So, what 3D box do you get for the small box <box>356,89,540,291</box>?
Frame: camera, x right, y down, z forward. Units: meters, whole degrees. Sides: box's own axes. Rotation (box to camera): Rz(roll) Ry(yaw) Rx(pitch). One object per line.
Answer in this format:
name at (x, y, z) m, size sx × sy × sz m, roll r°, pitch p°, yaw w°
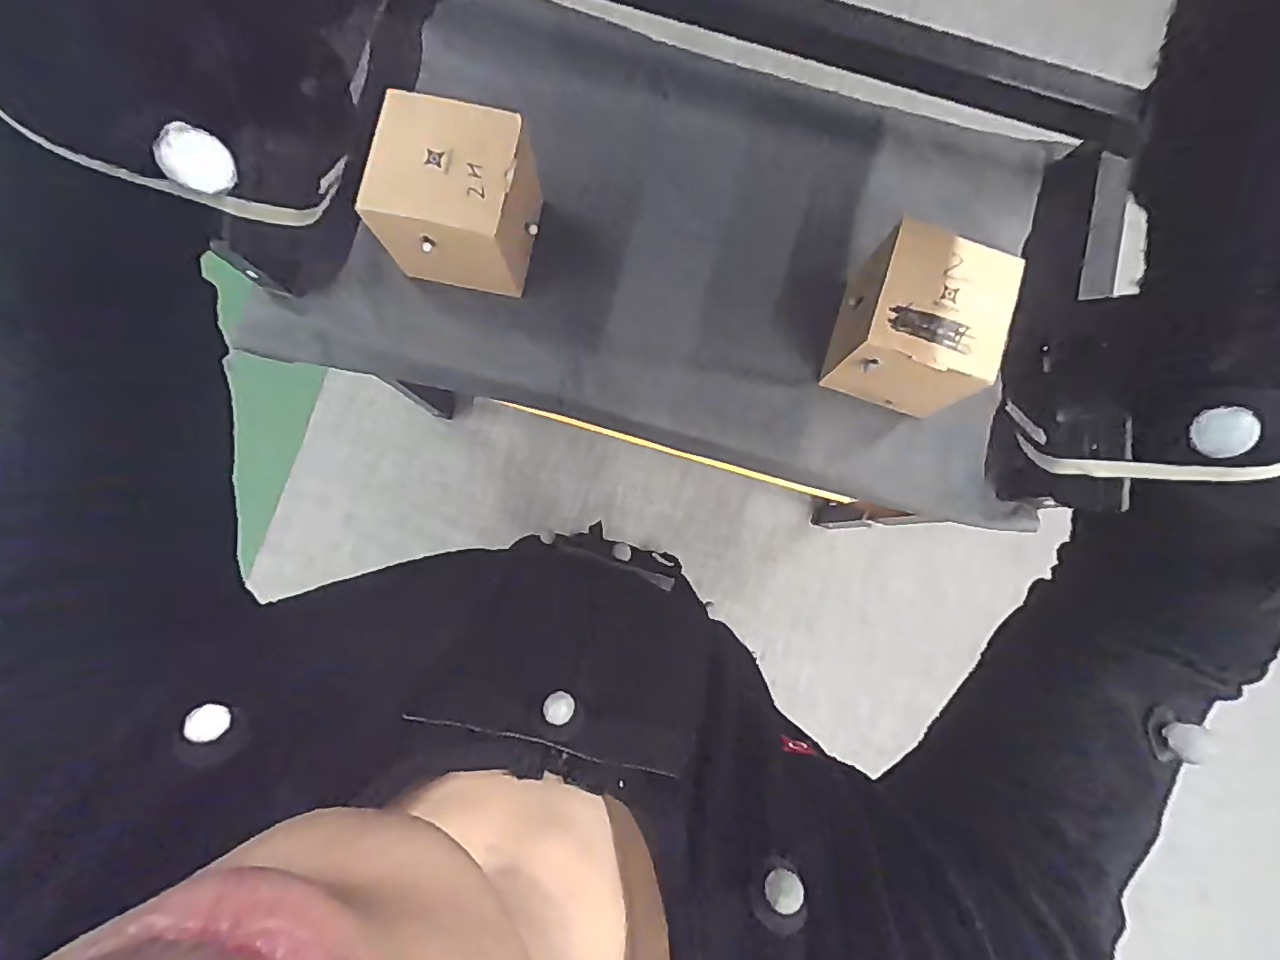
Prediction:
small box at (-0.248, -0.382, 0.743) m, size 0.179 × 0.176 × 0.168 m, roll 11°, pitch 83°, yaw -2°
